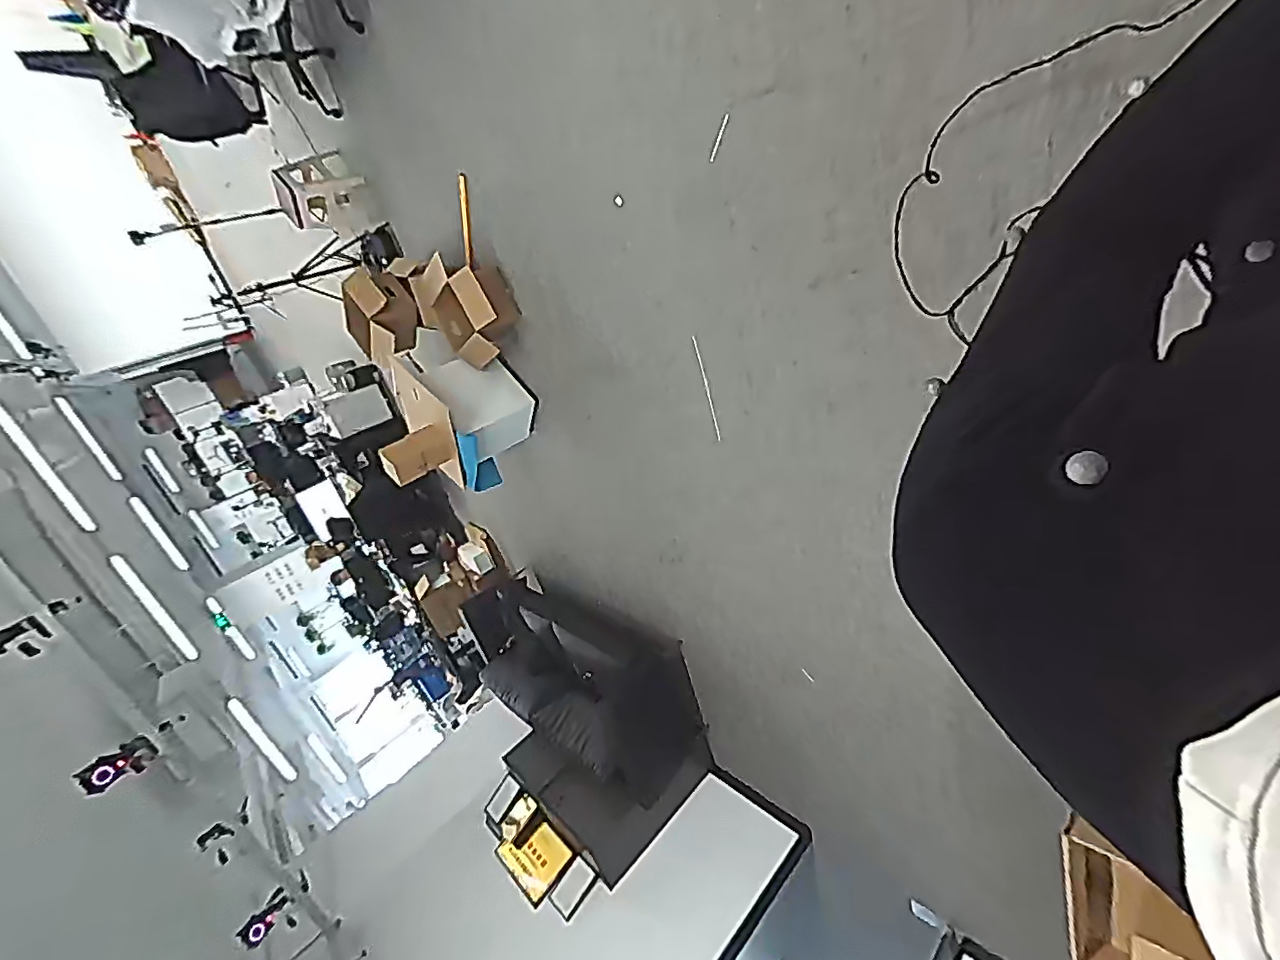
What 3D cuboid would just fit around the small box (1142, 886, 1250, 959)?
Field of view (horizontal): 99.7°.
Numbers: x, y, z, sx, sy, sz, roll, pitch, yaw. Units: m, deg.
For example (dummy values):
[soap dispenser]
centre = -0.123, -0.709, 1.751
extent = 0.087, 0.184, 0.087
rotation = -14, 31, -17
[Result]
[small box]
centre = 1.338, 1.146, 1.303
extent = 0.168, 0.176, 0.179
rotation = 7, 124, 49
